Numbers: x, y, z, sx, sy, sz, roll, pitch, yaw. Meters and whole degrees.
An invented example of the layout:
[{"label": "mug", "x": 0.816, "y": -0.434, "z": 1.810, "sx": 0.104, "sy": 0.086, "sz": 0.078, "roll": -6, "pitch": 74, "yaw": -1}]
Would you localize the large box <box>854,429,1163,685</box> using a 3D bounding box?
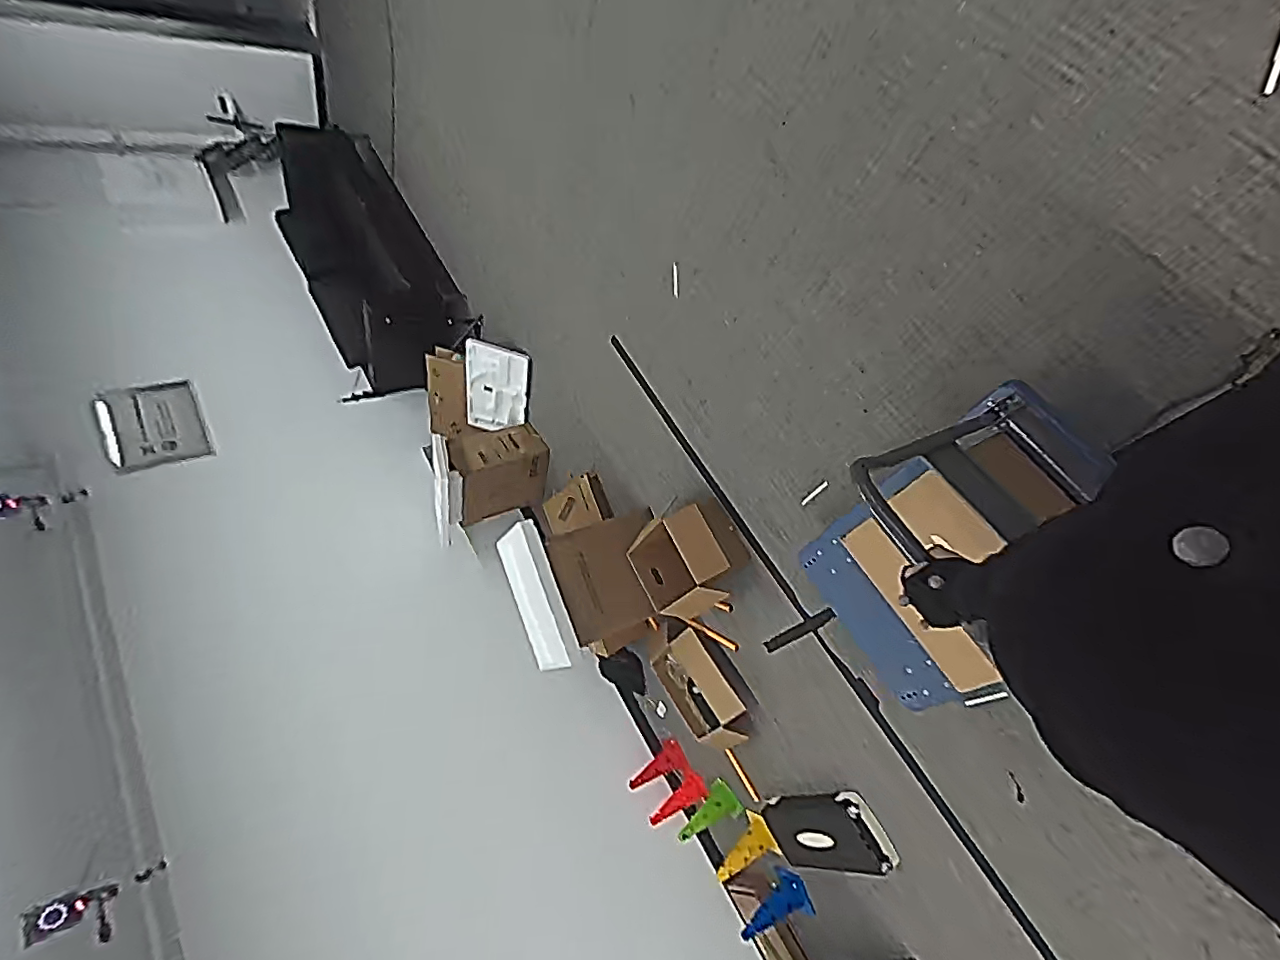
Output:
[{"label": "large box", "x": 0.775, "y": 0.158, "z": 1.177, "sx": 0.408, "sy": 0.320, "sz": 0.320, "roll": 57, "pitch": 145, "yaw": 22}]
